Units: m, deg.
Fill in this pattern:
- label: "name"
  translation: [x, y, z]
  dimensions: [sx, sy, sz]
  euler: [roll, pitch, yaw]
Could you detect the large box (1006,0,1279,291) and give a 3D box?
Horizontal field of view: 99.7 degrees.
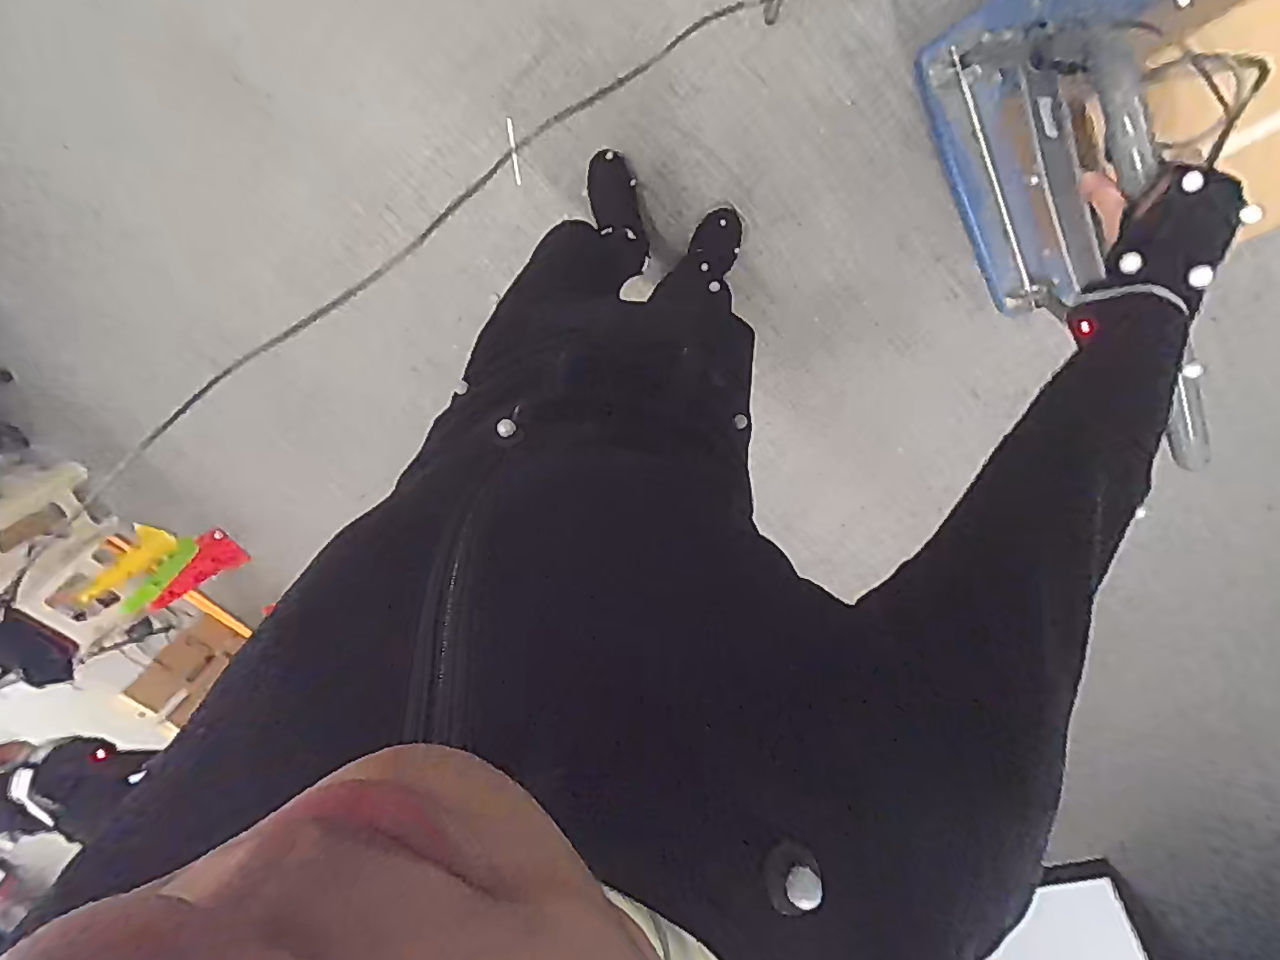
- label: "large box"
  translation: [0.887, -0.569, 0.841]
  dimensions: [0.408, 0.320, 0.320]
  euler: [-25, 116, 25]
